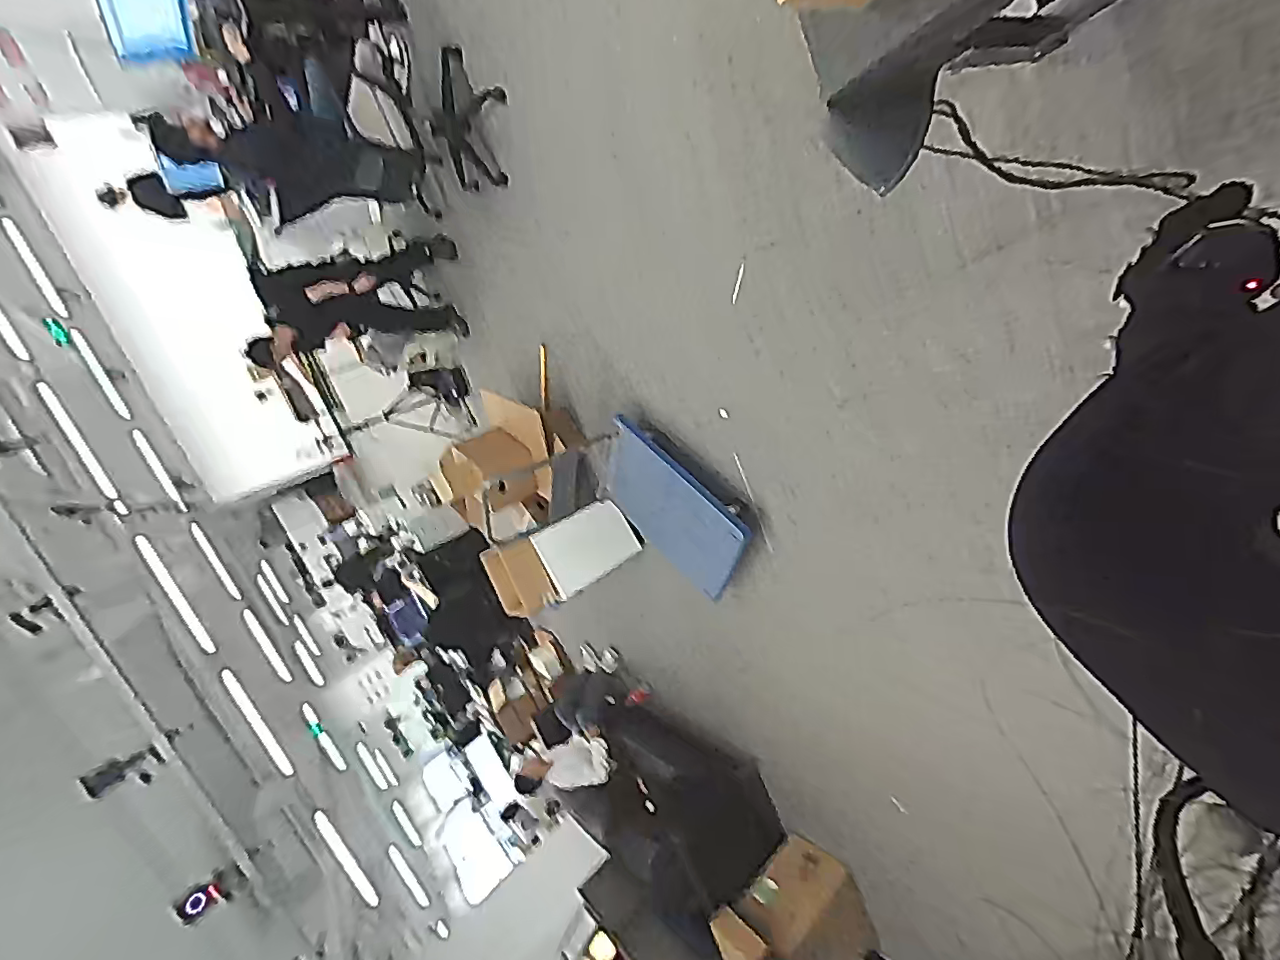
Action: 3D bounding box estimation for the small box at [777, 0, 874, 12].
[{"bbox_3d":[0.227,-0.617,0.536,0.179,0.176,0.168,-6,110,57],"label":"small box"}]
